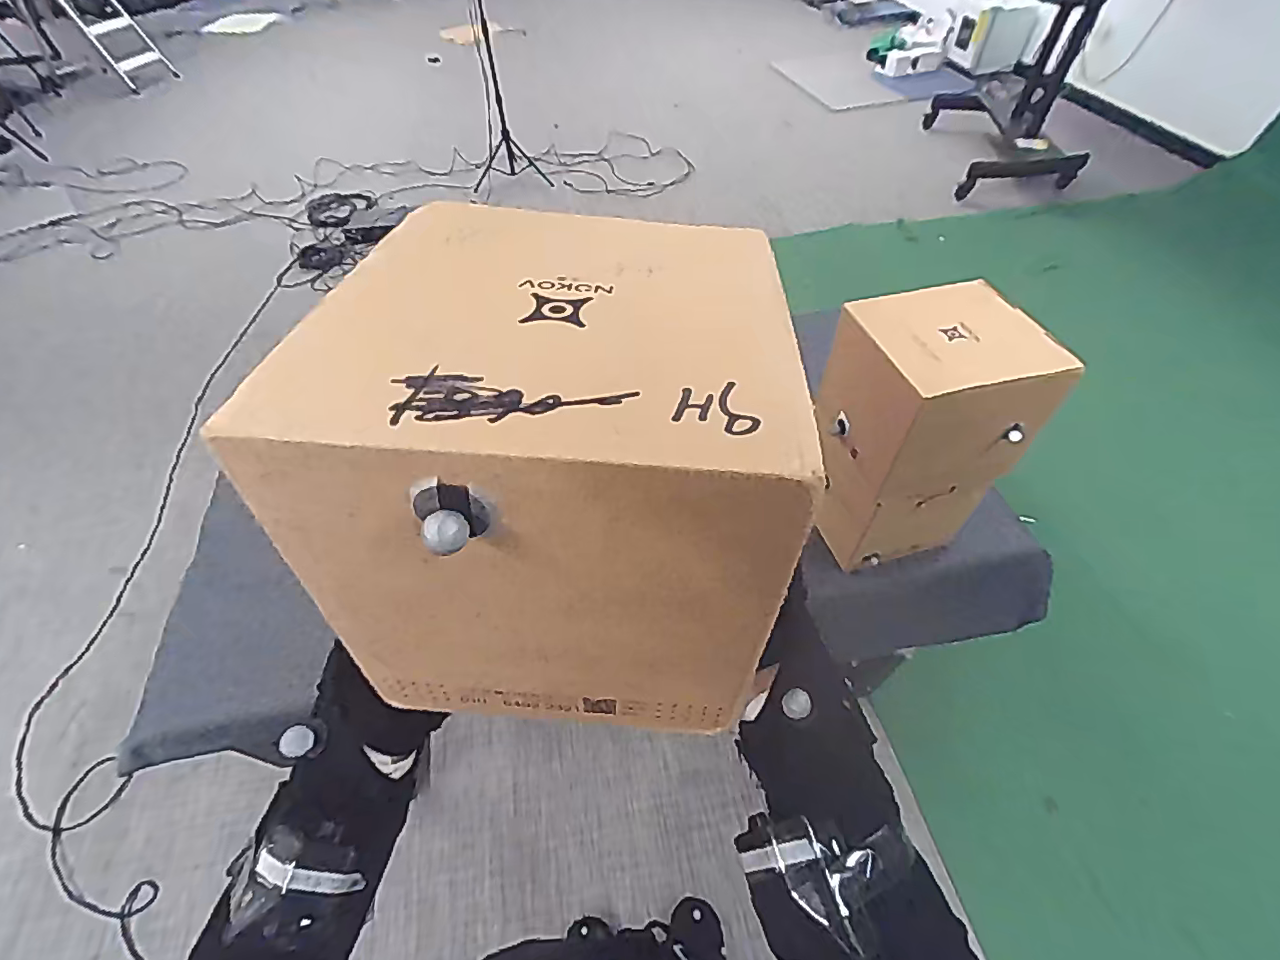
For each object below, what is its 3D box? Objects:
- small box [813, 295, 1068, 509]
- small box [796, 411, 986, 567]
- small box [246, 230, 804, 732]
[{"bbox_3d":[0.329,-0.089,0.637,0.179,0.176,0.168,-12,50,-6],"label":"small box"},{"bbox_3d":[0.333,0.006,0.768,0.168,0.176,0.179,-13,51,-8],"label":"small box"},{"bbox_3d":[-0.032,-0.004,0.268,0.168,0.176,0.179,4,43,1],"label":"small box"}]
